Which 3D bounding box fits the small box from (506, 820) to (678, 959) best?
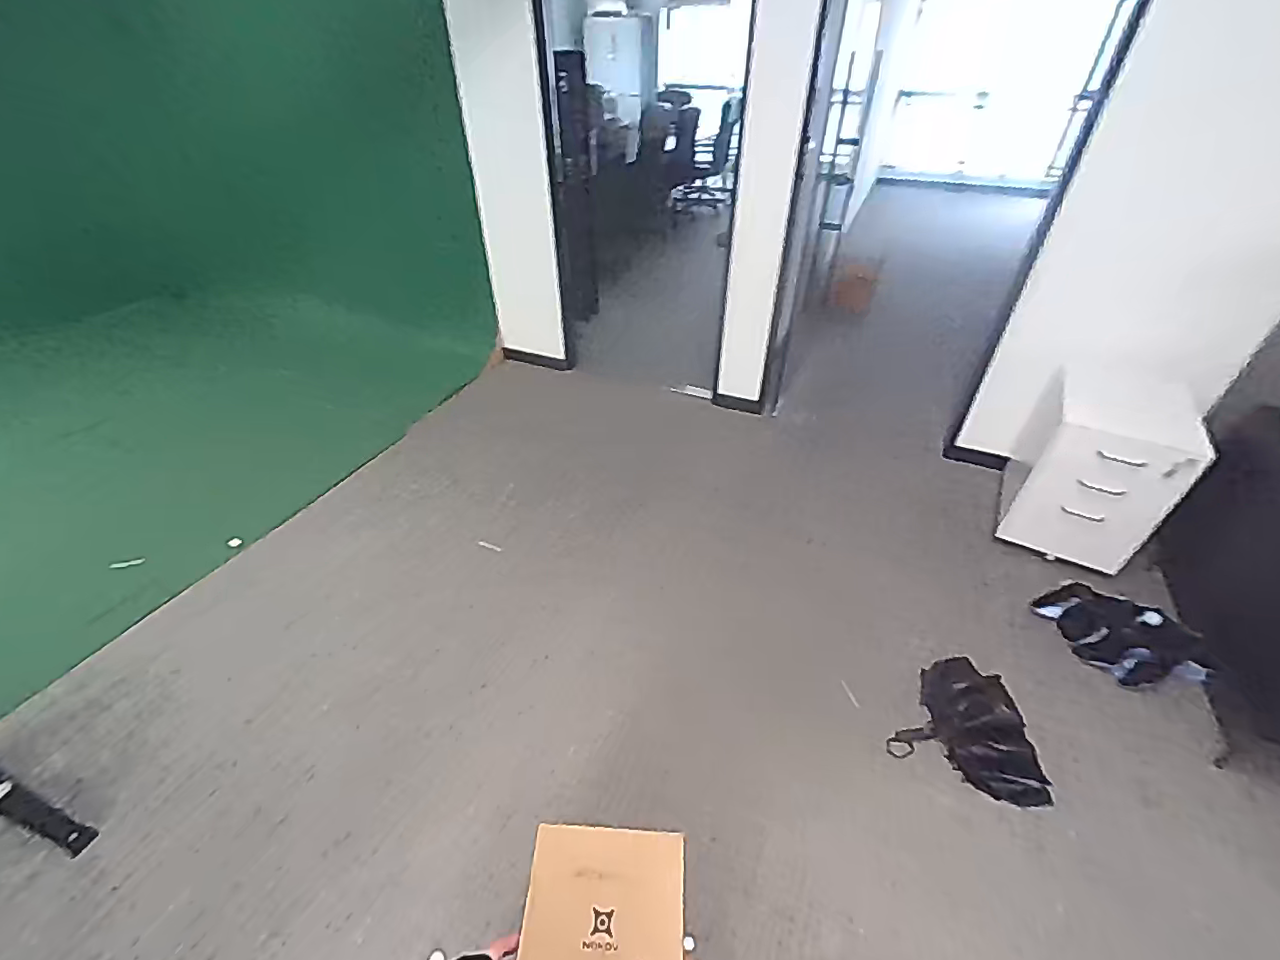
[{"bbox_3d":[-0.046,0.496,0.588,0.168,0.176,0.179,3,44,1],"label":"small box"}]
